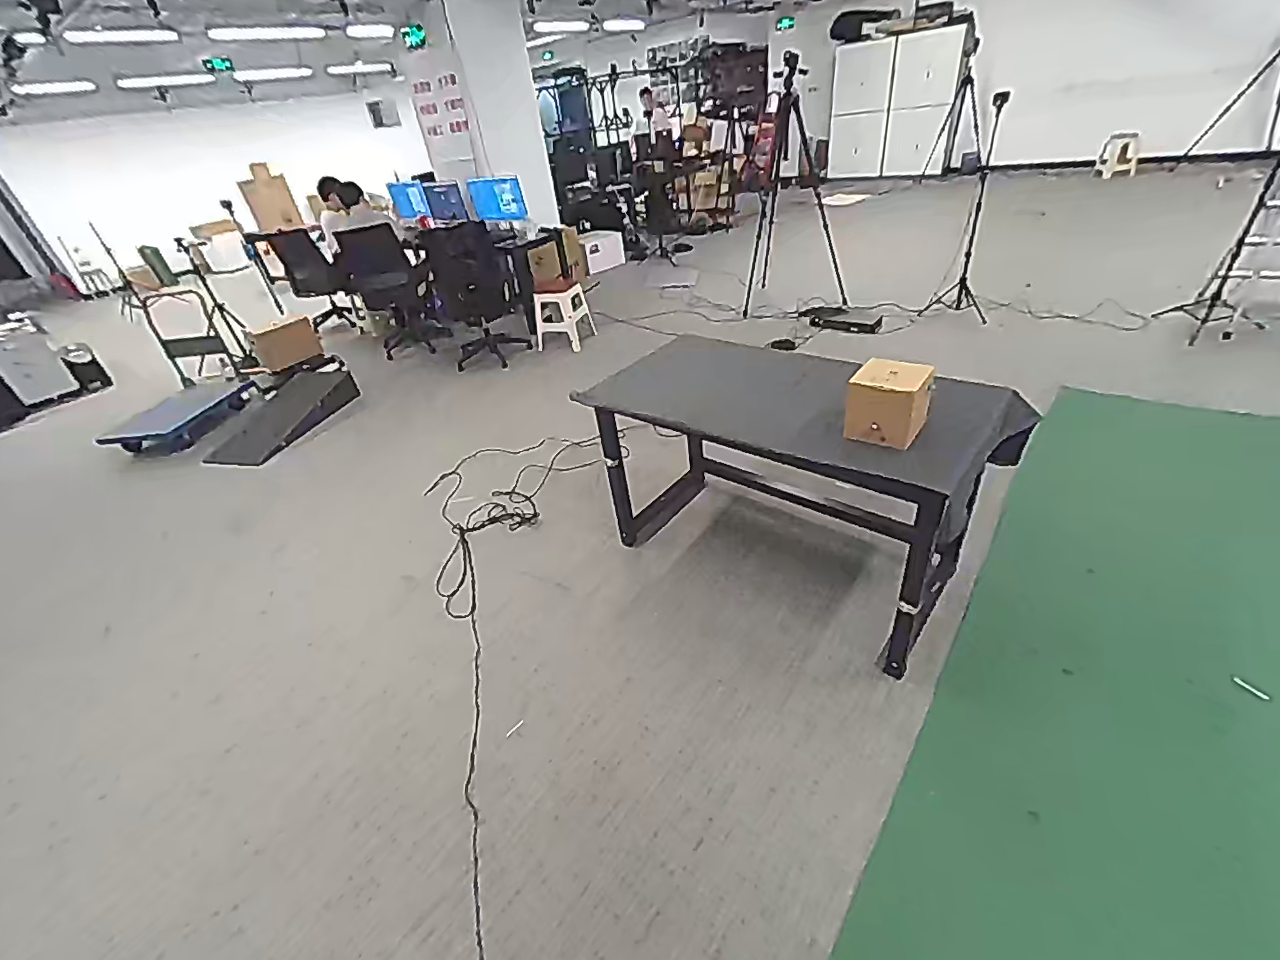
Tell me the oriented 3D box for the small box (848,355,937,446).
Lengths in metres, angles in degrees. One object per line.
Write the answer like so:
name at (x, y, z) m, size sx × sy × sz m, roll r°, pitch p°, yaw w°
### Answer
small box at (0.668, -0.215, 1.444) m, size 0.168 × 0.176 × 0.179 m, roll 18°, pitch 43°, yaw 36°
